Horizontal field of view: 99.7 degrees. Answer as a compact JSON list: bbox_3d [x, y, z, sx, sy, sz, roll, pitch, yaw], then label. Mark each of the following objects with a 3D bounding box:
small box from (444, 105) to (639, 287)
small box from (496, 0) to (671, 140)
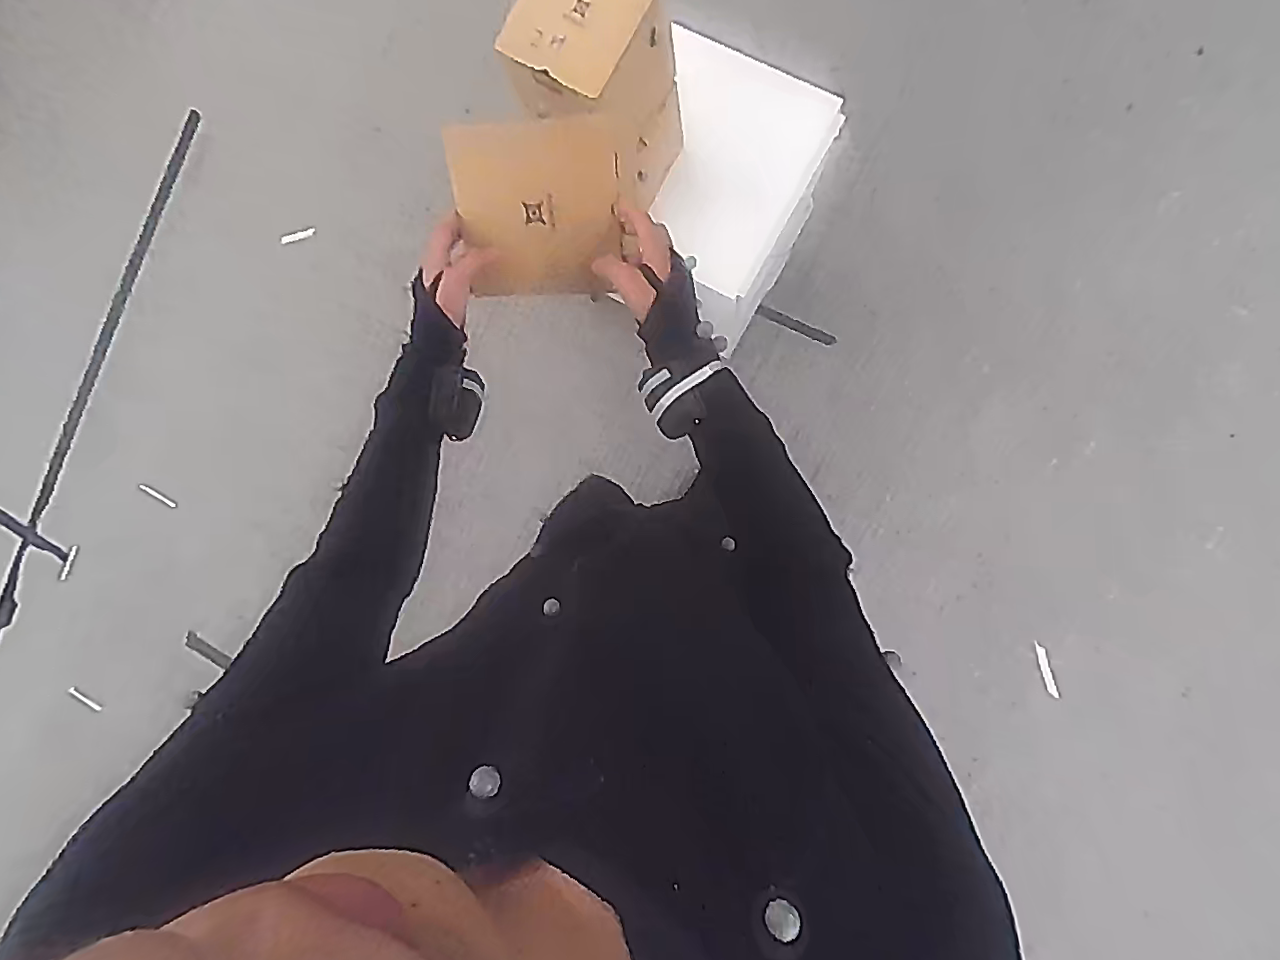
[{"bbox_3d":[-0.097,-0.324,0.627,0.179,0.176,0.168,0,120,5],"label":"small box"},{"bbox_3d":[-0.066,-0.598,0.767,0.168,0.176,0.179,32,95,7],"label":"small box"}]
